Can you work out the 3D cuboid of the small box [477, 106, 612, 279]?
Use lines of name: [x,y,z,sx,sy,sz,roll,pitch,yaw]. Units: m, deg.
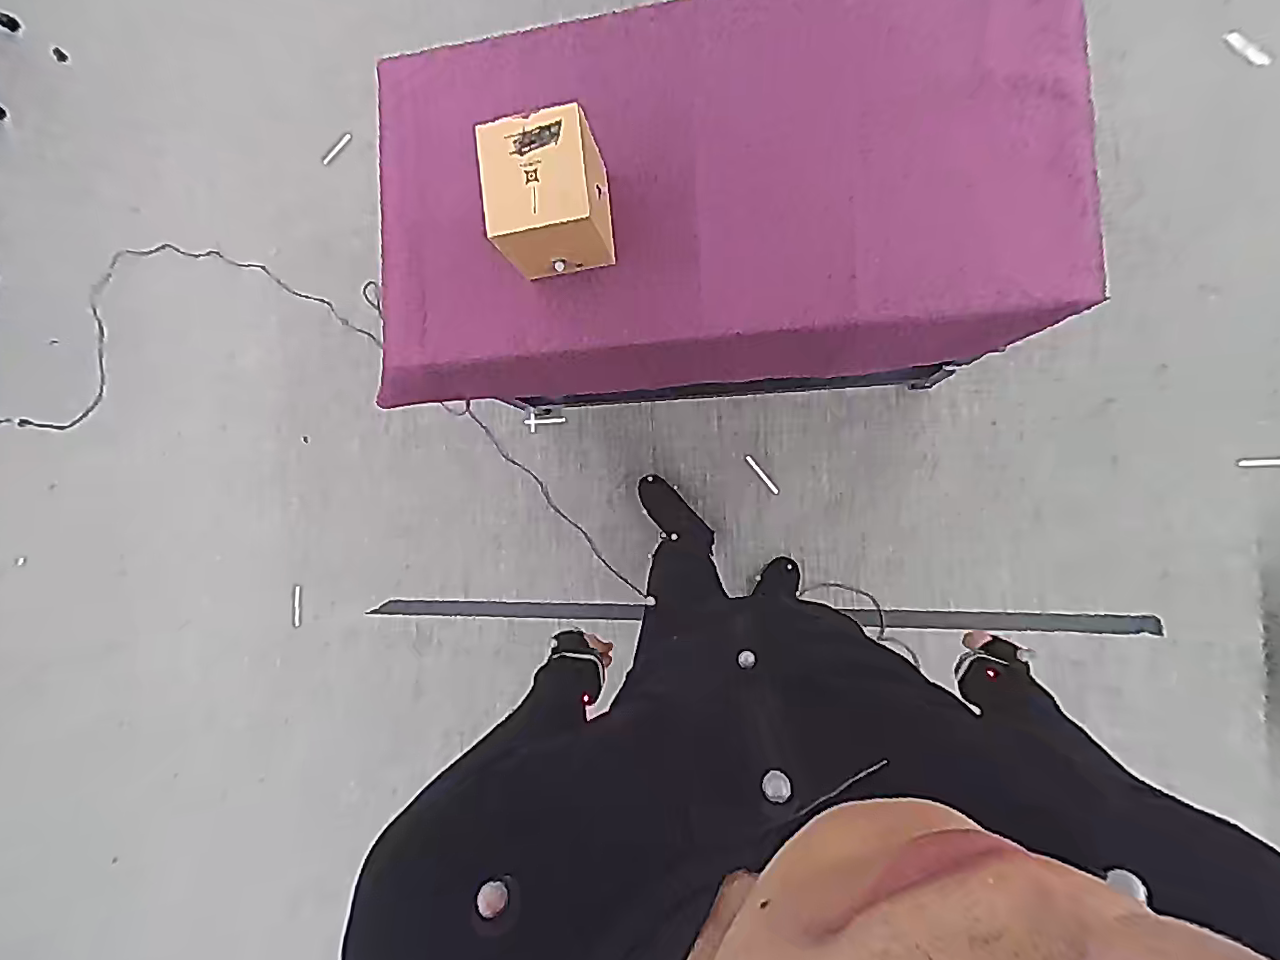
small box: [-0.148,-0.458,0.888,0.168,0.176,0.179,-7,87,10]
